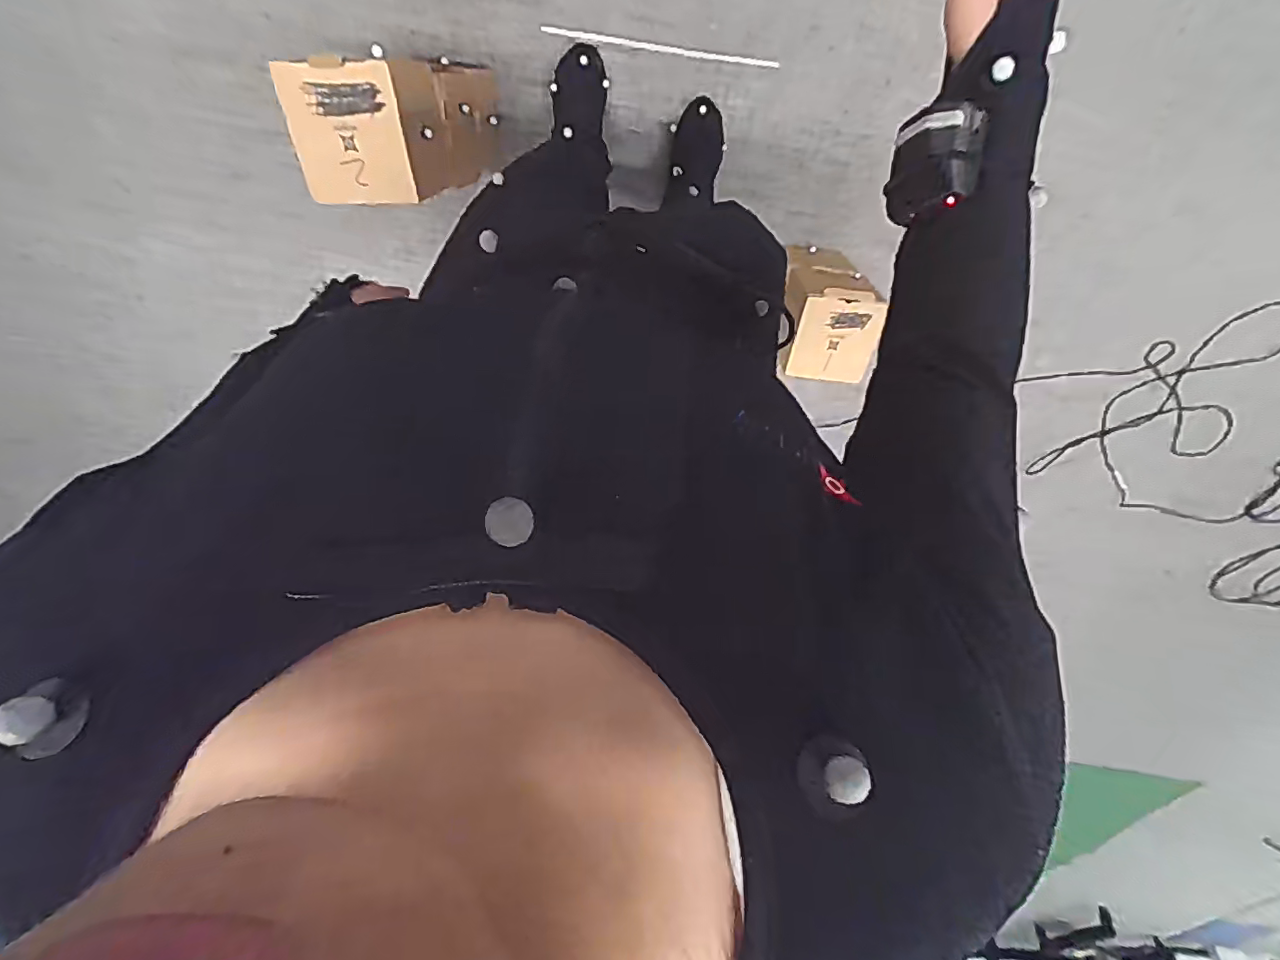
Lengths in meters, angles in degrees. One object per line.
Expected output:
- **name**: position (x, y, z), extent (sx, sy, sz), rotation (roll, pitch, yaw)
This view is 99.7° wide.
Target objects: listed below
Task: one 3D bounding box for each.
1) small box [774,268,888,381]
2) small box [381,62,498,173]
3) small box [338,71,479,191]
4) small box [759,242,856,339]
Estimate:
- **small box**: position (0.394, -0.336, 1.154), extent (0.168, 0.176, 0.179), rotation (6, 129, -1)
- **small box**: position (-0.393, -0.741, 1.101), extent (0.179, 0.176, 0.168), rotation (5, 127, -1)
- **small box**: position (-0.401, -0.634, 0.978), extent (0.179, 0.176, 0.168), rotation (4, 126, 2)
- **small box**: position (0.385, -0.443, 1.280), extent (0.168, 0.176, 0.179), rotation (5, 128, -1)
